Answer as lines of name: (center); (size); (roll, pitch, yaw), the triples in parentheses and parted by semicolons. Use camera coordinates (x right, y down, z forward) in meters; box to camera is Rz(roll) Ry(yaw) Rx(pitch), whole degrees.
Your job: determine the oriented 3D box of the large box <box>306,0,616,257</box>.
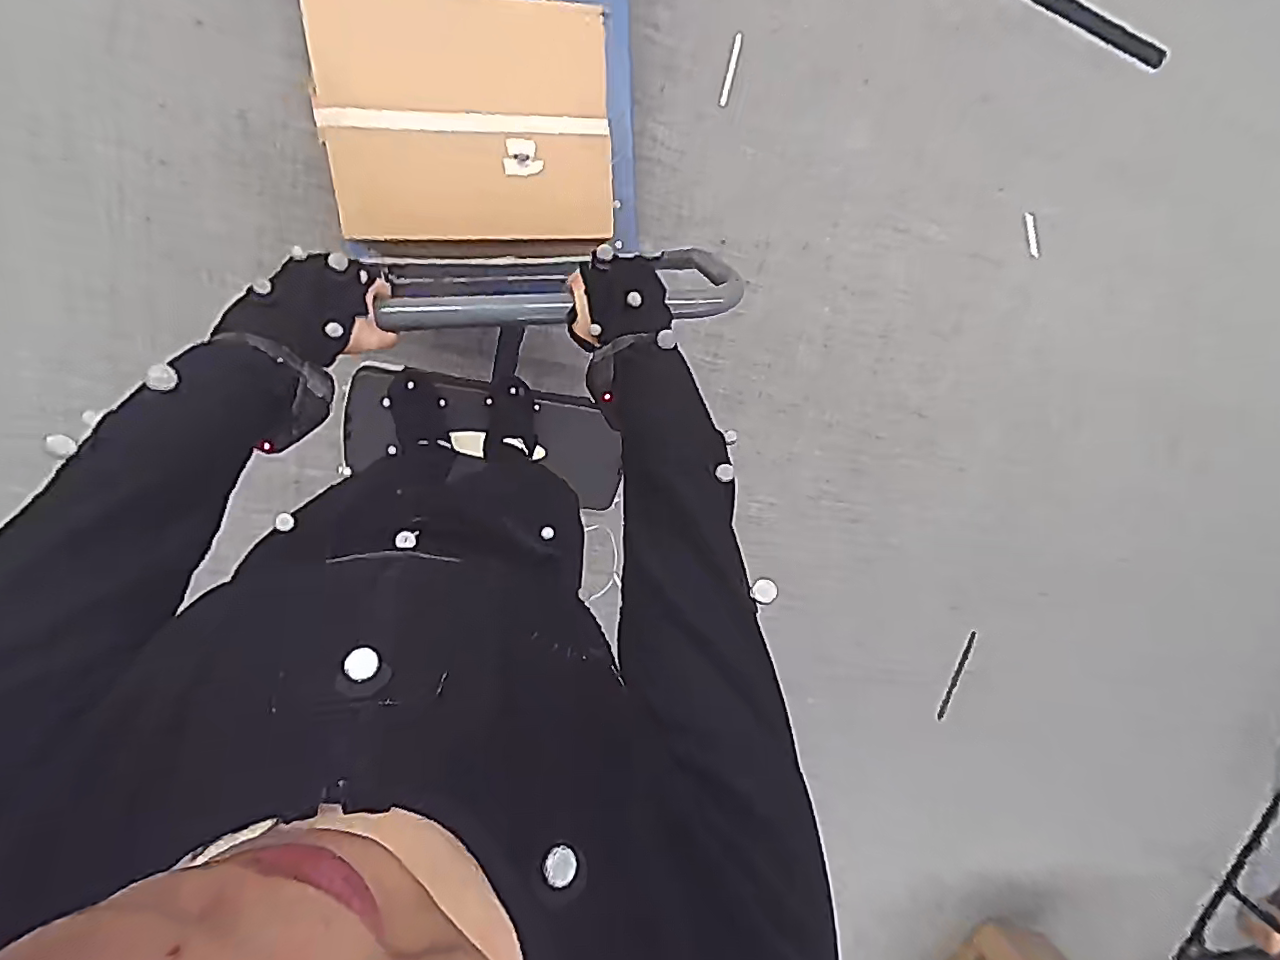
large box: (-0.276, -0.566, 0.923); (0.408, 0.320, 0.320); (-7, 109, -14)
